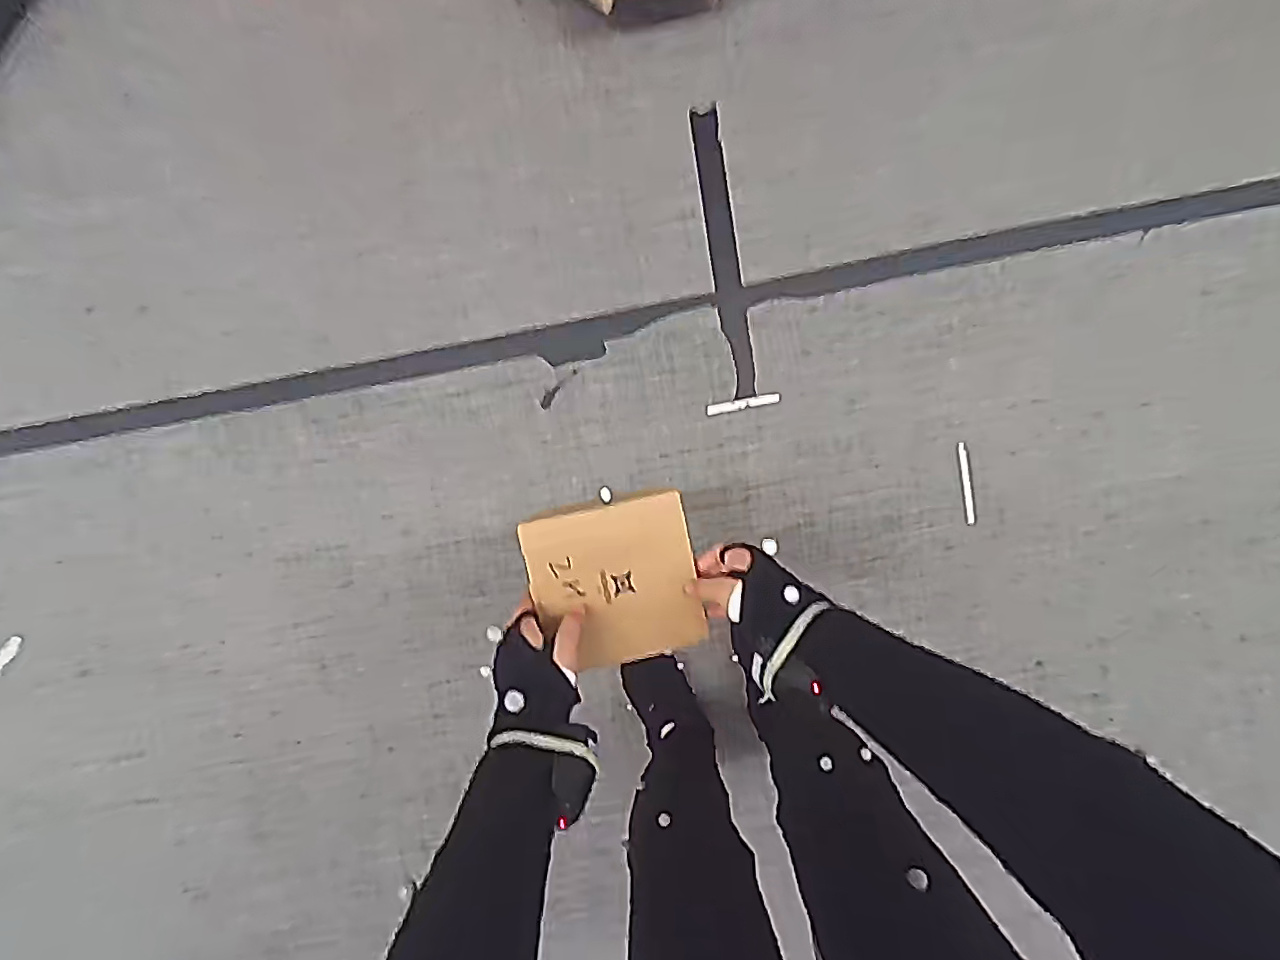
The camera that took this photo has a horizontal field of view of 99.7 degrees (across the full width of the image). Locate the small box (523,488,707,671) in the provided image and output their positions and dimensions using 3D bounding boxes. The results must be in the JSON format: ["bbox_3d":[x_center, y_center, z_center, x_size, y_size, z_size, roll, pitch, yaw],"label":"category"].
[{"bbox_3d":[-0.032,0.106,0.659,0.179,0.176,0.168,-12,93,-4],"label":"small box"}]
